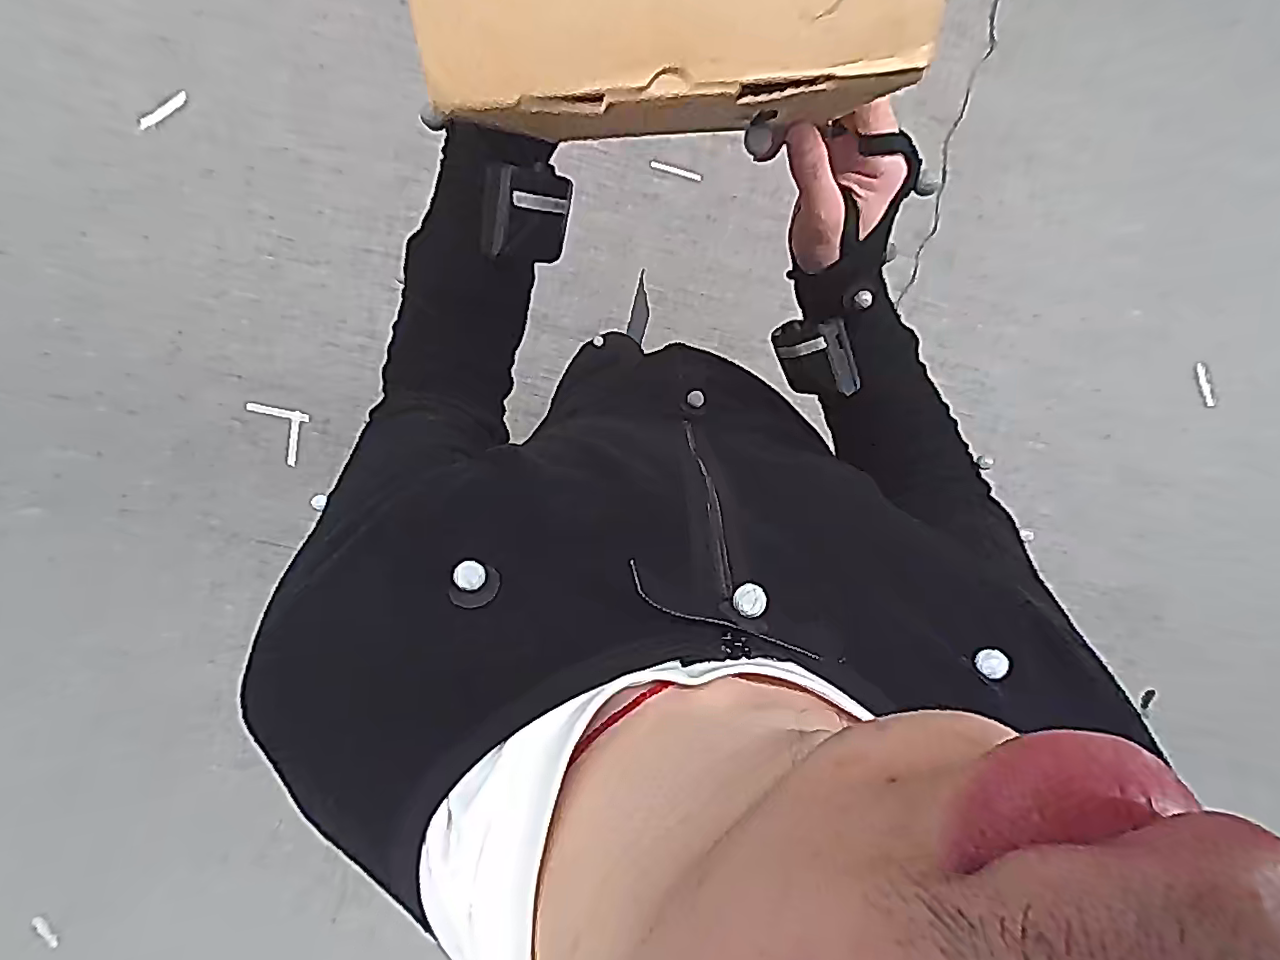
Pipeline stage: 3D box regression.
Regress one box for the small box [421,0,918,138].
[{"bbox_3d":[0.012,-0.246,0.218,0.168,0.176,0.179,-1,119,7],"label":"small box"}]
